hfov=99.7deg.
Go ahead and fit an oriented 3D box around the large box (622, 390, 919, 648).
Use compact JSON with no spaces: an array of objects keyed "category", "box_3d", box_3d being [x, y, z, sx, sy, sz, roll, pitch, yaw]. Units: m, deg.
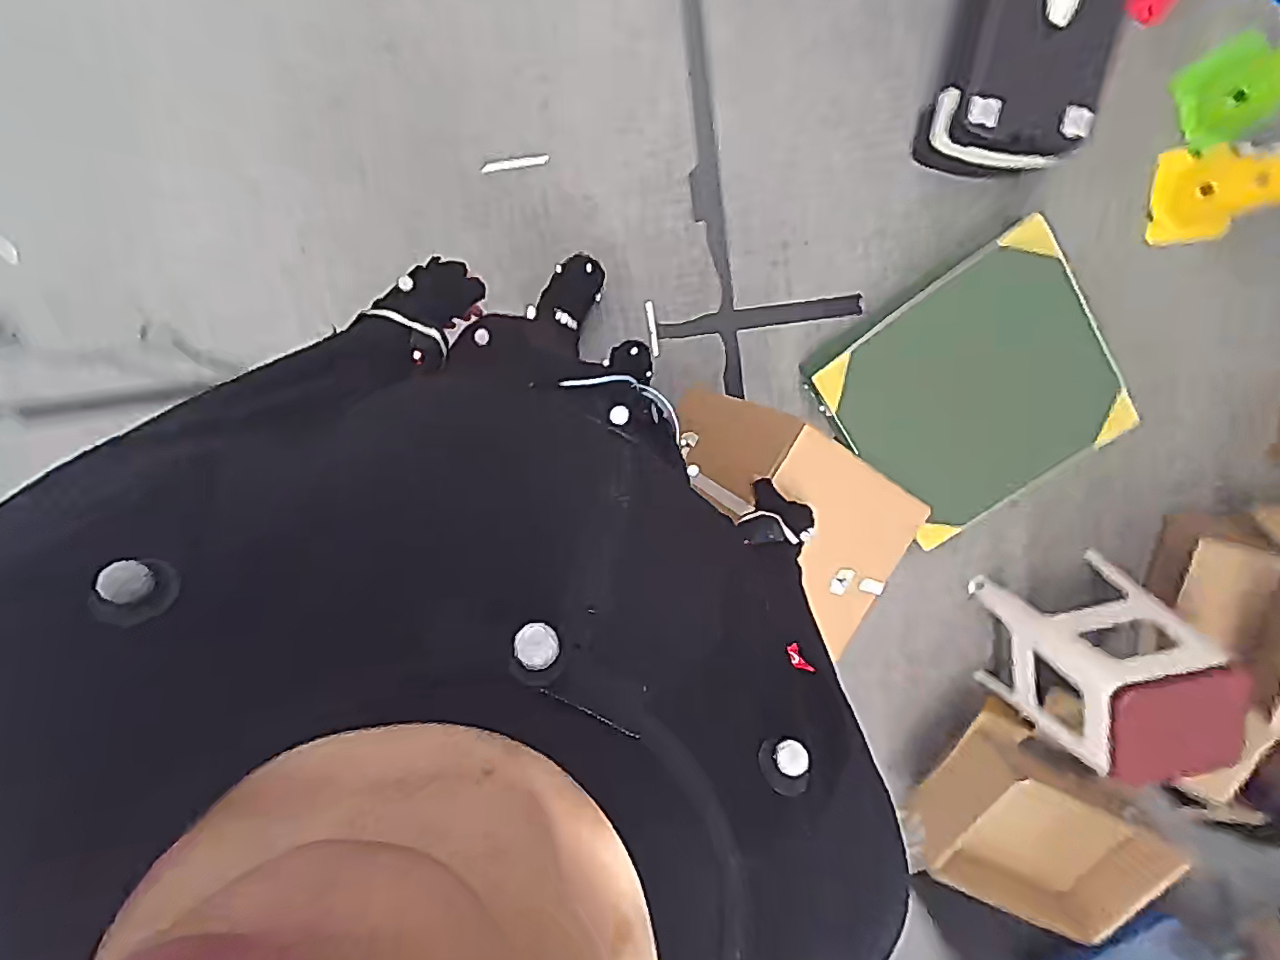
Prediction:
[{"category":"large box","box_3d":[0.218,0.054,1.030,0.320,0.408,0.320,27,96,-24]}]
